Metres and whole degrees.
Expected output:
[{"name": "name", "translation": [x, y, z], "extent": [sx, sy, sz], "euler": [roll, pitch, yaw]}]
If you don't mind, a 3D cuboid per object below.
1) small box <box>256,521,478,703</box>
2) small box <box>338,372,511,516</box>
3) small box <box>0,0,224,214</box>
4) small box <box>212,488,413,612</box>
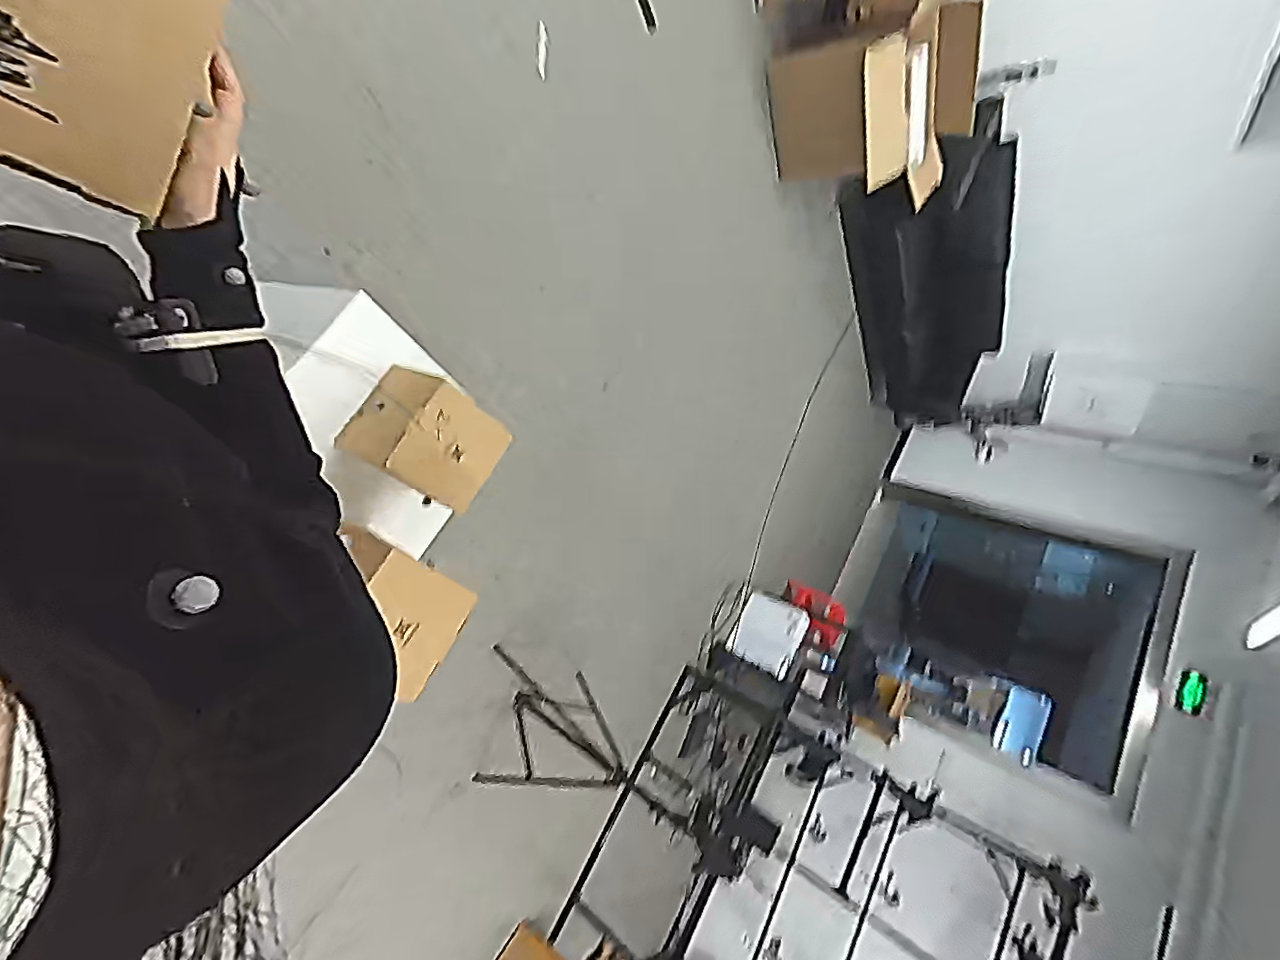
[{"name": "small box", "translation": [-0.370, 0.175, 0.744], "extent": [0.168, 0.176, 0.179], "euler": [-60, 142, -19]}, {"name": "small box", "translation": [-0.365, -0.067, 0.924], "extent": [0.168, 0.176, 0.179], "euler": [-60, 142, -16]}, {"name": "small box", "translation": [-0.341, -0.272, 0.276], "extent": [0.168, 0.176, 0.179], "euler": [14, 104, -54]}, {"name": "small box", "translation": [-0.501, 0.128, 0.831], "extent": [0.168, 0.176, 0.179], "euler": [-59, 141, -19]}]
